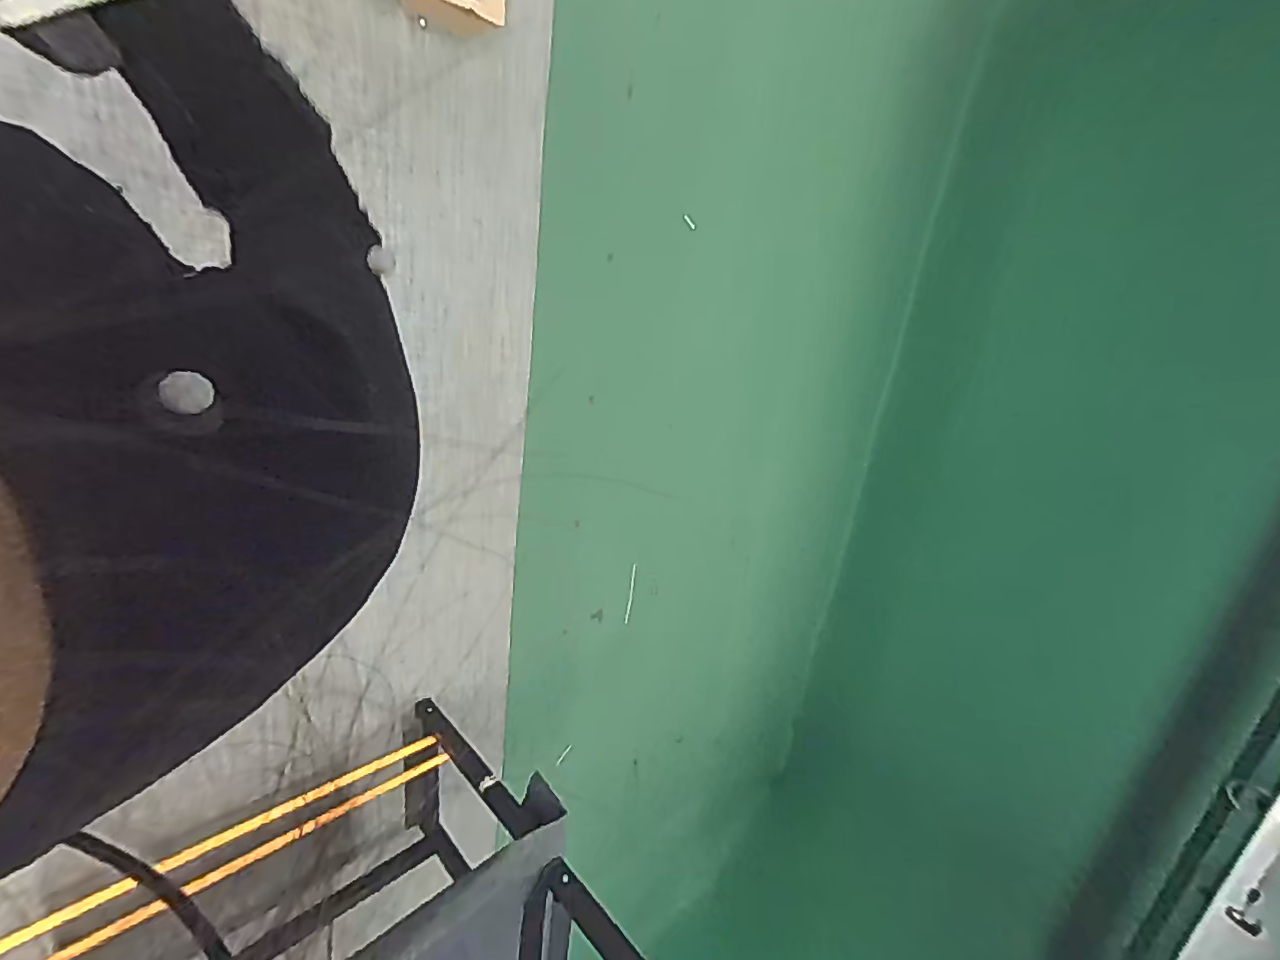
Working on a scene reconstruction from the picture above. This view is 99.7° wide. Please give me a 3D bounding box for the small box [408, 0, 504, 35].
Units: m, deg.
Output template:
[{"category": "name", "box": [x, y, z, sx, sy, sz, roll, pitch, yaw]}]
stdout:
[{"category": "small box", "box": [-0.417, -1.143, 1.210, 0.168, 0.176, 0.179, -12, 117, -45]}]
